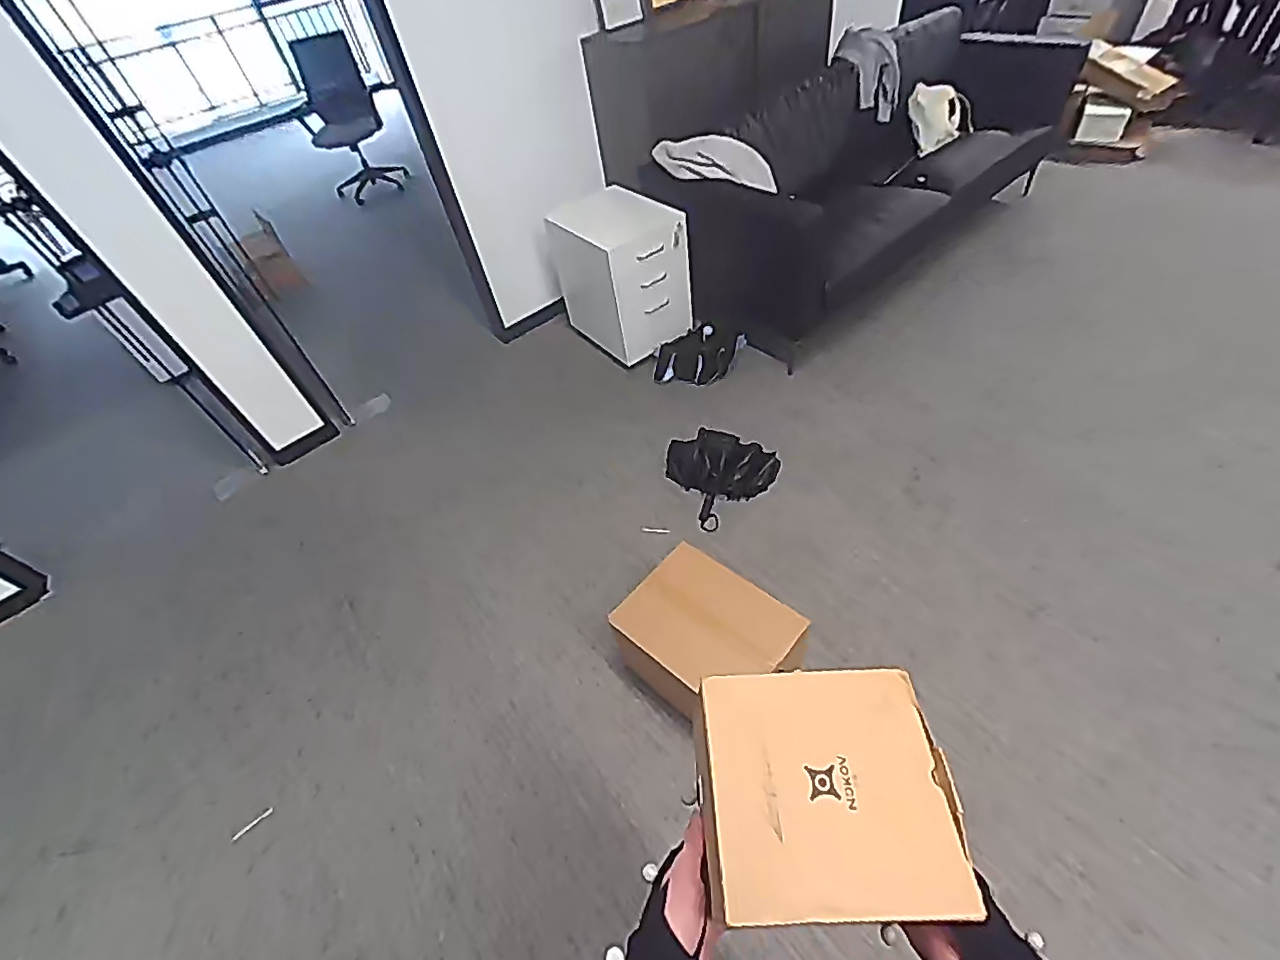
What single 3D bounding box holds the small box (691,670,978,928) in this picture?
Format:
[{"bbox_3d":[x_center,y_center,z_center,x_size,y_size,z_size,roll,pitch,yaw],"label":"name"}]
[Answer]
[{"bbox_3d":[0.140,0.277,0.470,0.179,0.176,0.168,-4,52,1],"label":"small box"}]
